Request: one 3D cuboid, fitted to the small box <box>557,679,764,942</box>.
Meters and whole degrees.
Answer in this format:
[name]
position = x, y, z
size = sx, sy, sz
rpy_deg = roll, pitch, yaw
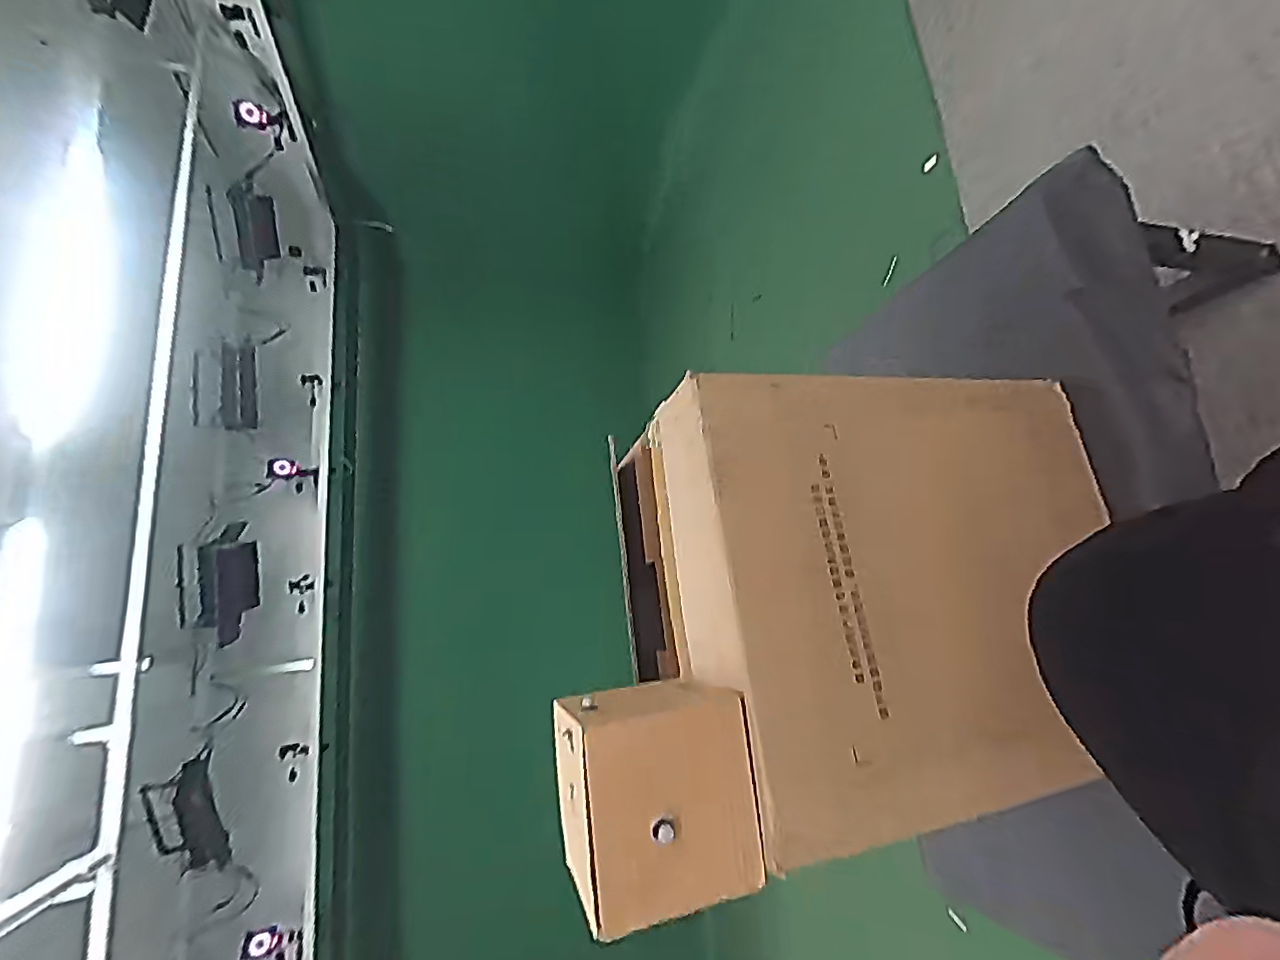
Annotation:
[small box]
position = 0.016, 0.330, 0.584
size = 0.168, 0.176, 0.179
rpy_deg = 145, 119, -67
